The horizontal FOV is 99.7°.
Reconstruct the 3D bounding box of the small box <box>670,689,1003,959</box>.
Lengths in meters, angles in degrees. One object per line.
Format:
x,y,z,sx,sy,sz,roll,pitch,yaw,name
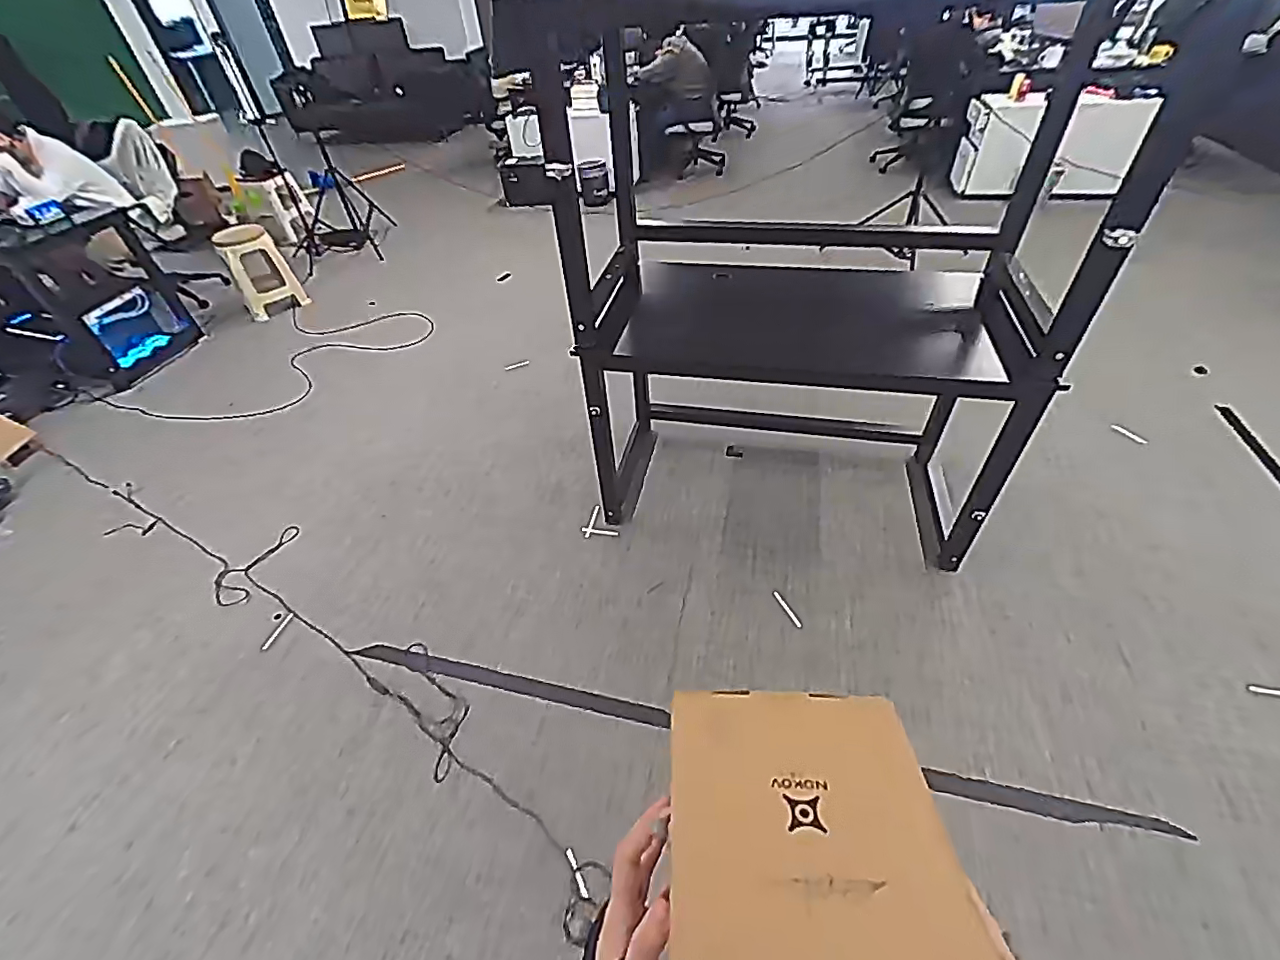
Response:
0.105,0.274,0.374,0.168,0.176,0.179,0,29,3,small box
